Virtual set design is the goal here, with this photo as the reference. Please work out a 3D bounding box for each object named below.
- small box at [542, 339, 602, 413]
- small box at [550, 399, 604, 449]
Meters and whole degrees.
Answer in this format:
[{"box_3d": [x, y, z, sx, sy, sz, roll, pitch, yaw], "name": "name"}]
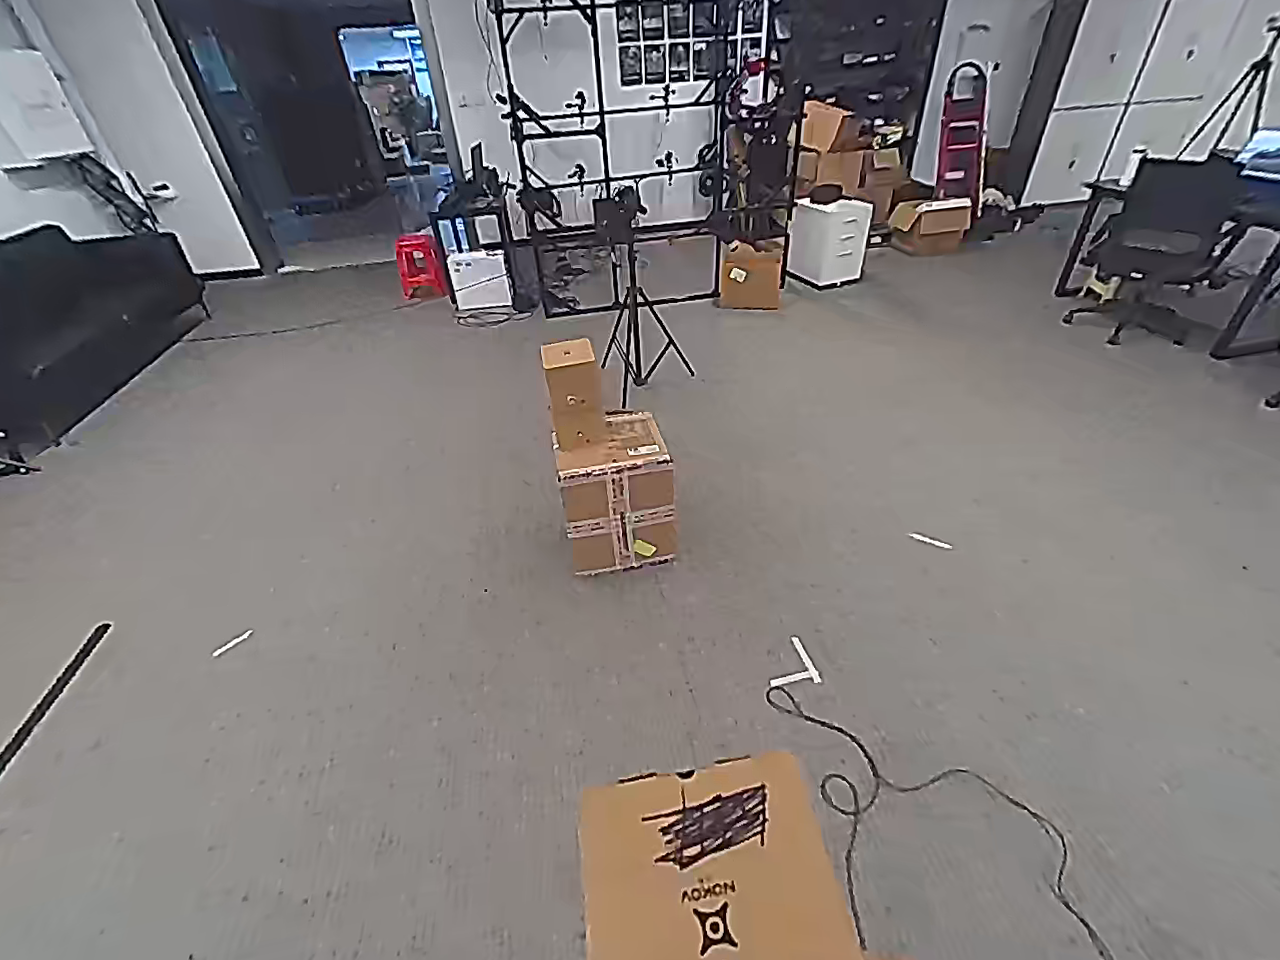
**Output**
[{"box_3d": [-0.227, -0.347, 1.803, 0.168, 0.176, 0.179, -12, 41, -6], "name": "small box"}, {"box_3d": [-0.225, -0.233, 1.921, 0.168, 0.176, 0.179, -11, 40, -6], "name": "small box"}]
